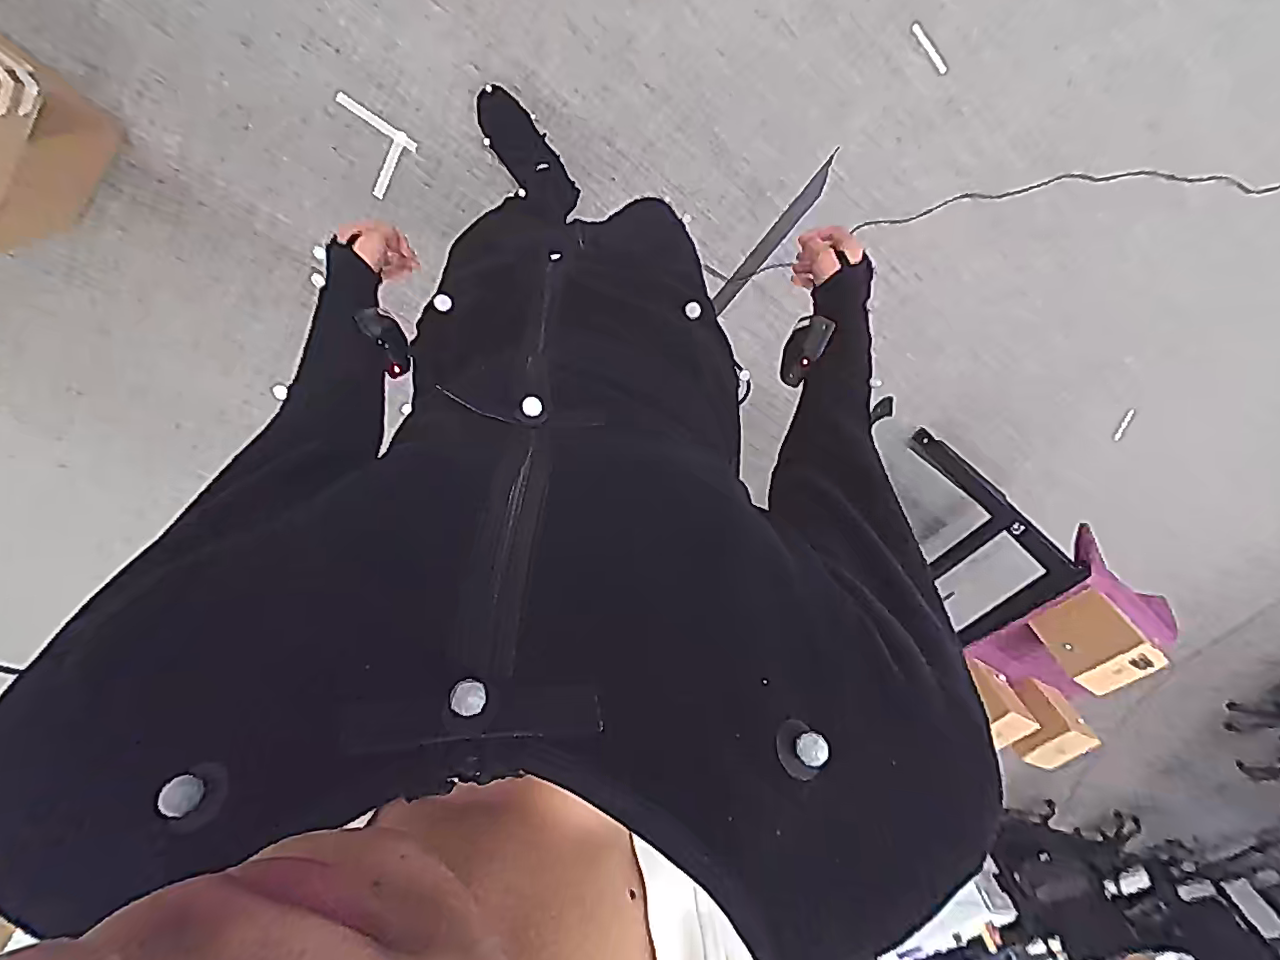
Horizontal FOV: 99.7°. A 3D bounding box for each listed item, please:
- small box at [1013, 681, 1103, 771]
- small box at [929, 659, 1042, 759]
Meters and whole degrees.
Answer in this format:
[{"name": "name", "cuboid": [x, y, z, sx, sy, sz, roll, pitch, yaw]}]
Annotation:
[{"name": "small box", "cuboid": [1.180, 0.717, 1.582, 0.179, 0.176, 0.168, 27, 118, -25]}, {"name": "small box", "cuboid": [0.925, 0.622, 1.470, 0.168, 0.176, 0.179, 30, 117, -27]}]
